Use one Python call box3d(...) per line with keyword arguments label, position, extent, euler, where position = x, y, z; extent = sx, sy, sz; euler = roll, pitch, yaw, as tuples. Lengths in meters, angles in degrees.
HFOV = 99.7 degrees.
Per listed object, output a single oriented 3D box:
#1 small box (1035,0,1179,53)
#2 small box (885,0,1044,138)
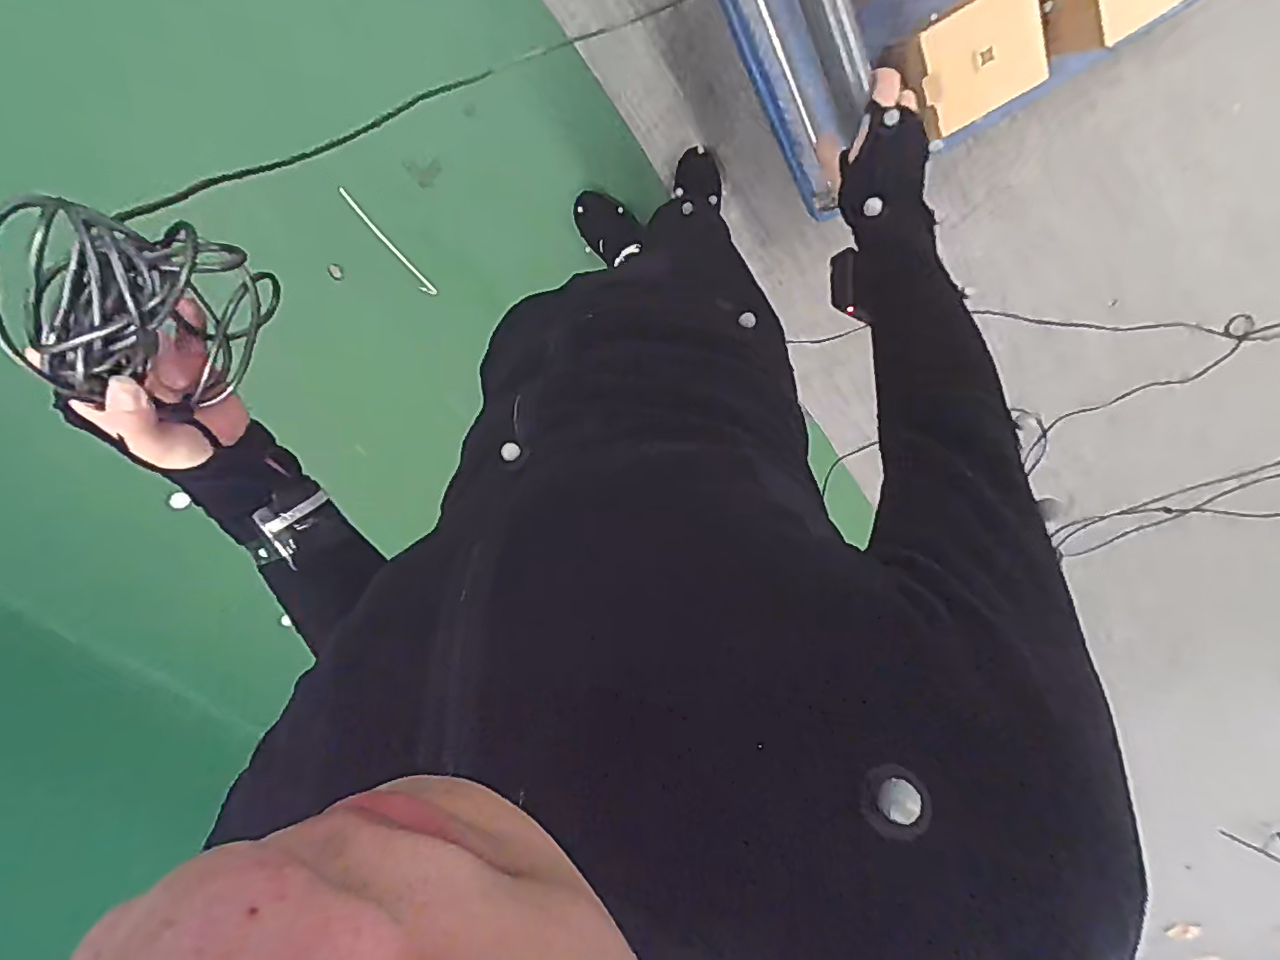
box3d(label="small box", position=(0.779, -0.838, 0.874), extent=(0.179, 0.176, 0.168), euler=(-27, 118, 21))
box3d(label="small box", position=(0.564, -0.742, 0.954), extent=(0.179, 0.176, 0.168), euler=(-24, 120, 19))
